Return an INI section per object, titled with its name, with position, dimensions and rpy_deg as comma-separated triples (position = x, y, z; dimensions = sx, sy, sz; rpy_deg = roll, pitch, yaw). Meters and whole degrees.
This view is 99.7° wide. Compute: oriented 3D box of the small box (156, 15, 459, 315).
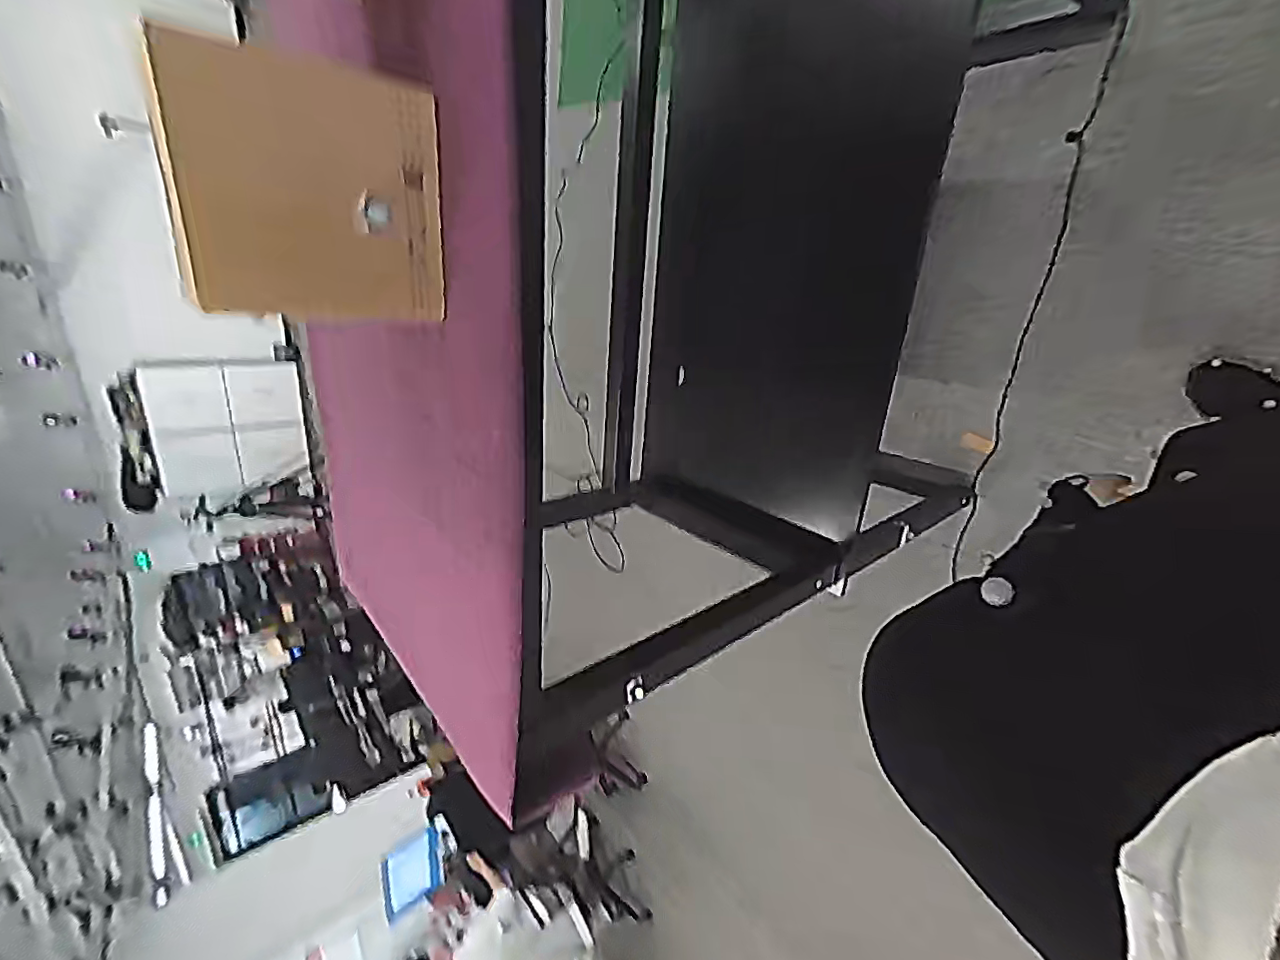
[small box]
position = -0.263, -0.227, 0.441
dimensions = 0.179, 0.176, 0.168
rpy_deg = 25, 120, 43
